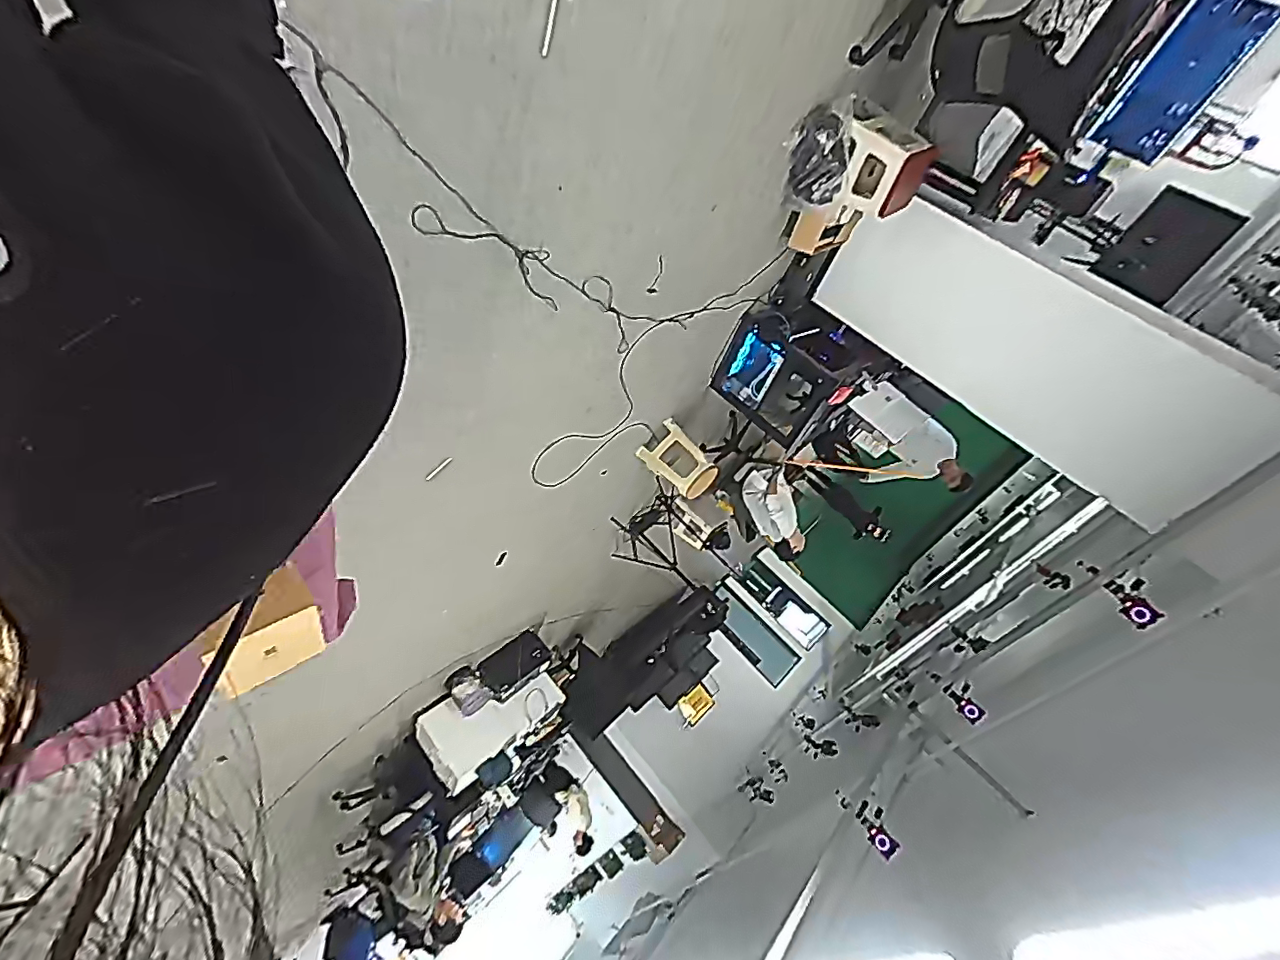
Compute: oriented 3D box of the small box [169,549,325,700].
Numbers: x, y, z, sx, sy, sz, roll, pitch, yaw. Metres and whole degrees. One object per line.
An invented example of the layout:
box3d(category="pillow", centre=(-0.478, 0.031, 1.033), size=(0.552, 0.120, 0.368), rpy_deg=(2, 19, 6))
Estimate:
box3d(category="small box", centre=(-0.696, 0.247, 0.967), size=(0.168, 0.176, 0.179), rpy_deg=(-28, 153, -40))
